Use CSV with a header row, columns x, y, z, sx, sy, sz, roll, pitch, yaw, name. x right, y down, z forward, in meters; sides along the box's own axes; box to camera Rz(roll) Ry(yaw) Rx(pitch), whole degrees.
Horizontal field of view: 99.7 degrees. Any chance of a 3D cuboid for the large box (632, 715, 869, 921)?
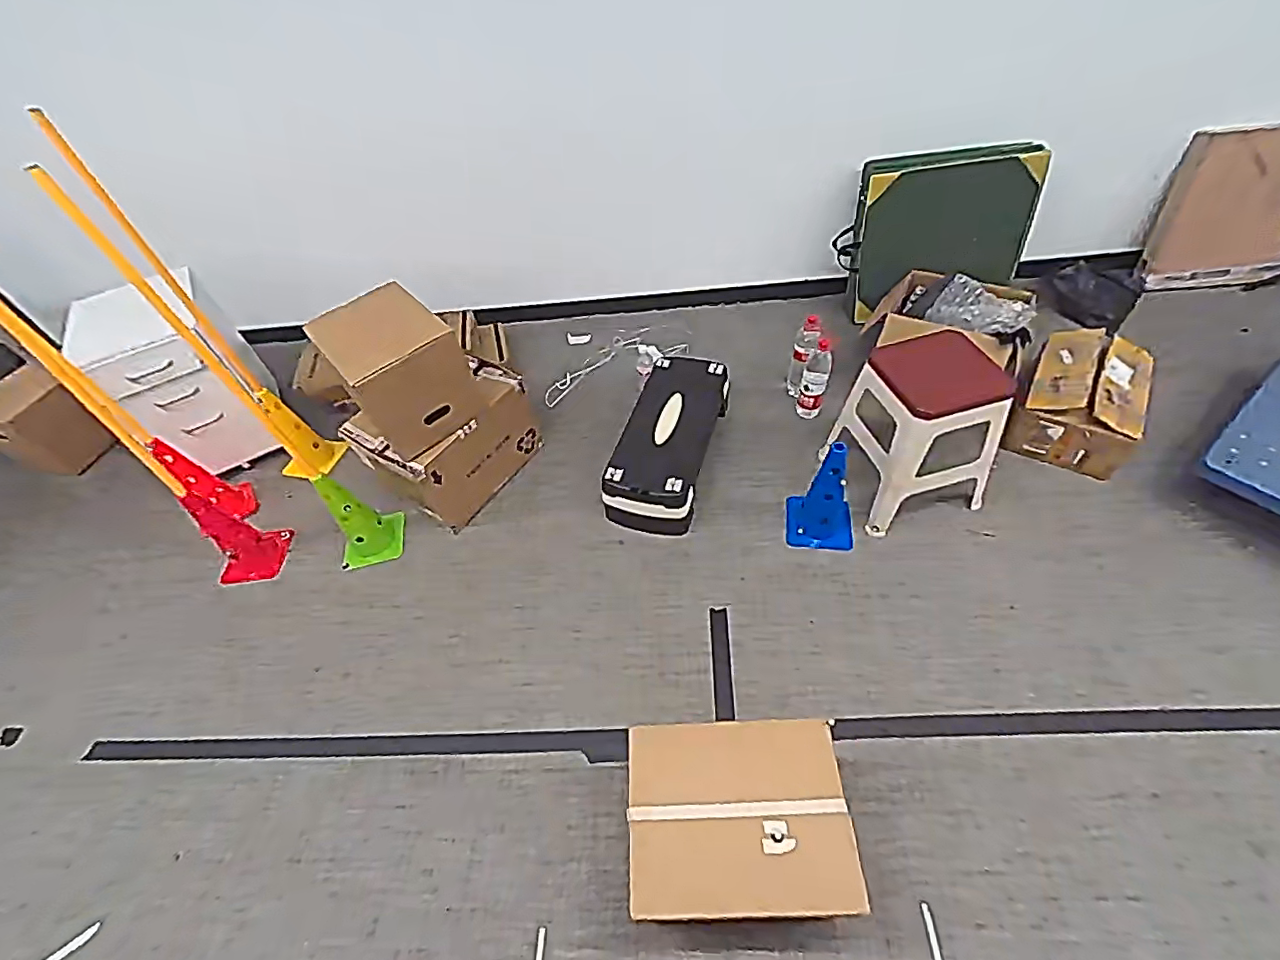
x,y,z,sx,sy,sz,roll,pitch,yaw,name
0.195,0.706,1.122,0.408,0.320,0.320,-4,51,3,large box
